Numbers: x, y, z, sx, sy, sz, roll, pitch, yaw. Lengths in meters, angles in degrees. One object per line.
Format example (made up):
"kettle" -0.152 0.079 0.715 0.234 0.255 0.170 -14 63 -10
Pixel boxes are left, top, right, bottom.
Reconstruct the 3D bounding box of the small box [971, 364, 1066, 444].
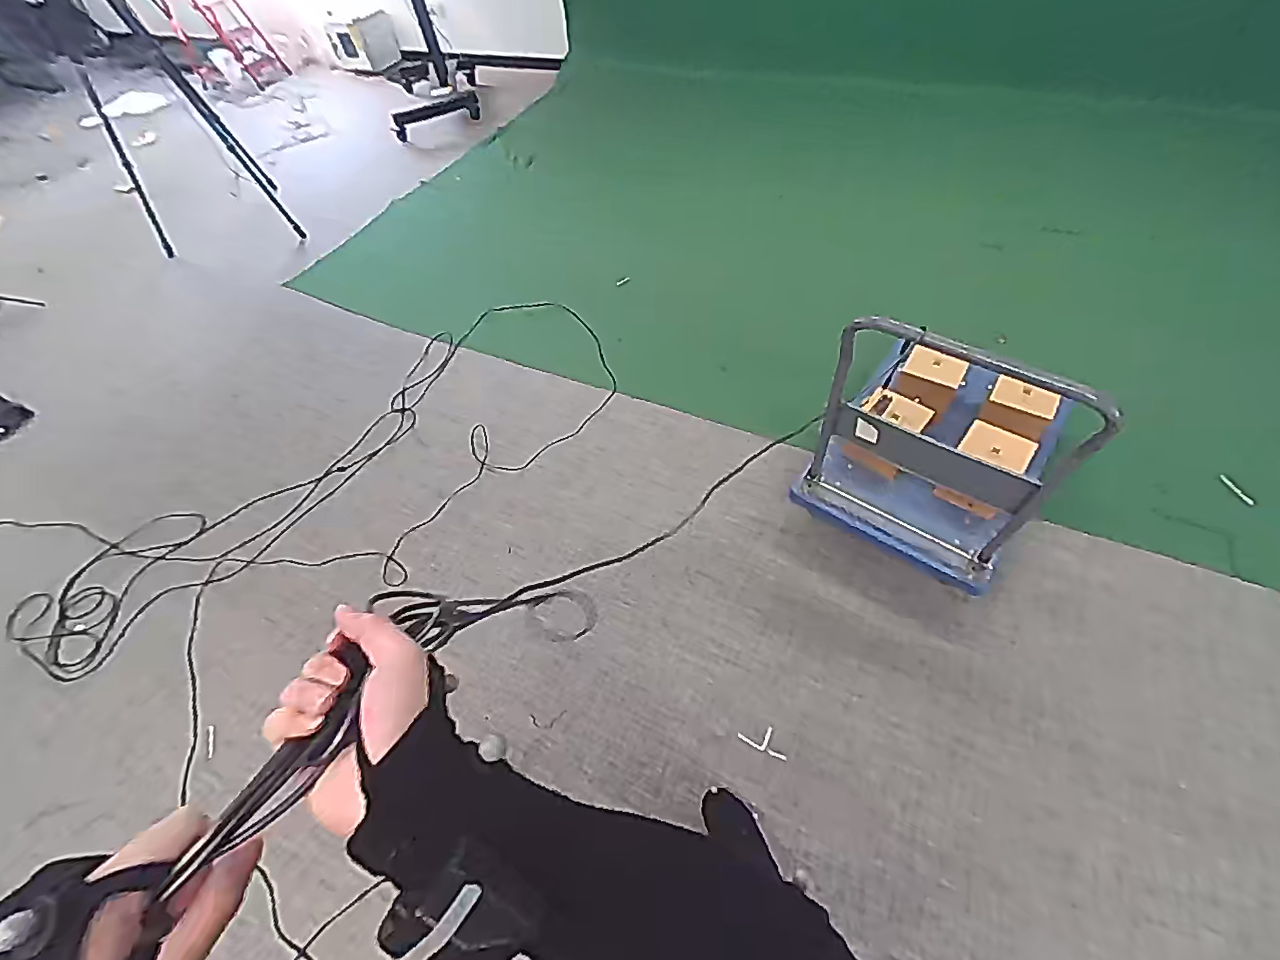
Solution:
"small box" 1.131 -0.211 1.627 0.168 0.176 0.179 27 63 24

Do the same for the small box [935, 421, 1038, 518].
"small box" 0.964 -0.028 1.519 0.168 0.176 0.179 31 64 26

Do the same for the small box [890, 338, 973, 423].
"small box" 0.924 -0.314 1.727 0.168 0.176 0.179 27 62 23
